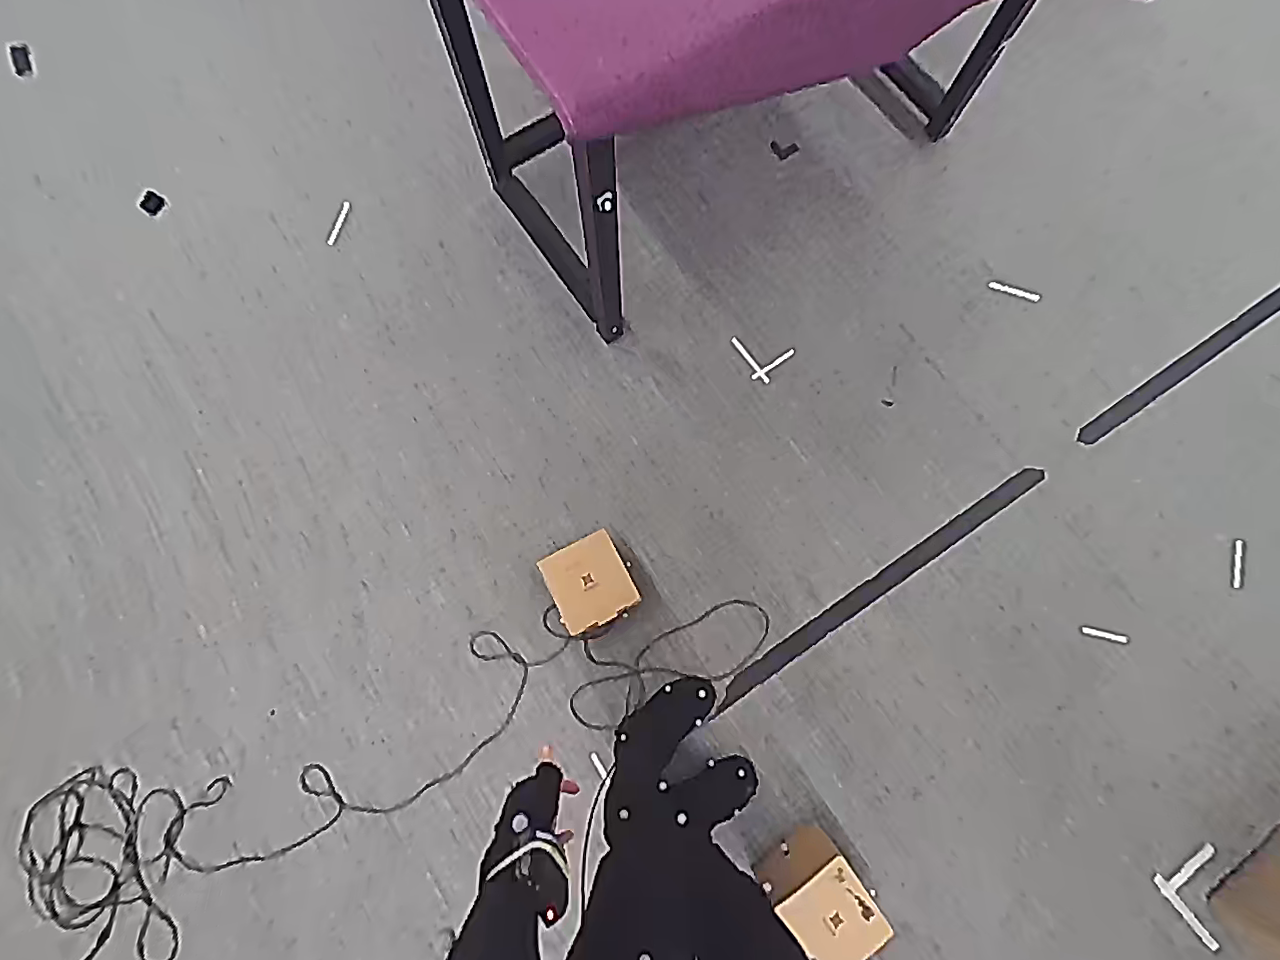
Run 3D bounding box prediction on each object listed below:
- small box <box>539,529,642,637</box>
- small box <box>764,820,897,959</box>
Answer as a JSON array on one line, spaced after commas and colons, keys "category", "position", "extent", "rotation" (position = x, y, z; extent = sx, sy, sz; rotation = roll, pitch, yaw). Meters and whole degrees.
[{"category": "small box", "position": [-0.105, 0.234, 1.218], "extent": [0.168, 0.176, 0.179], "rotation": [-28, 76, -8]}, {"category": "small box", "position": [0.368, 0.840, 1.092], "extent": [0.179, 0.176, 0.168], "rotation": [-35, 80, -6]}]
